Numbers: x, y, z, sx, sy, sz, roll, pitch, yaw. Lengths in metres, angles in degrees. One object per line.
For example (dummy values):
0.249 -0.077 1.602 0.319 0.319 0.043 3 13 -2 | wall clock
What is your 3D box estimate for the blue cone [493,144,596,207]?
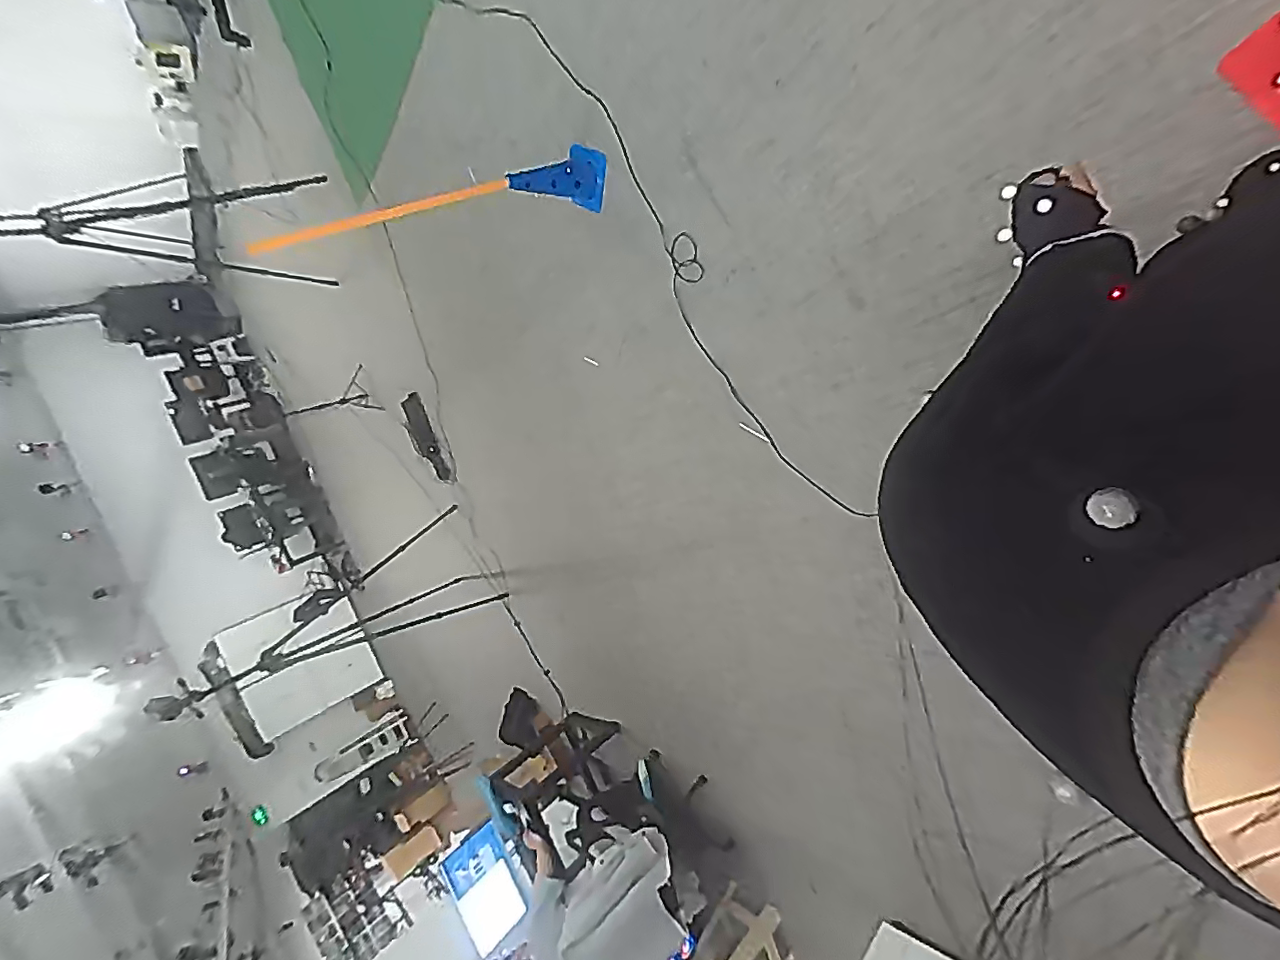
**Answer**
-0.348 -1.076 1.924 0.192 0.380 0.193 36 136 29 | blue cone
